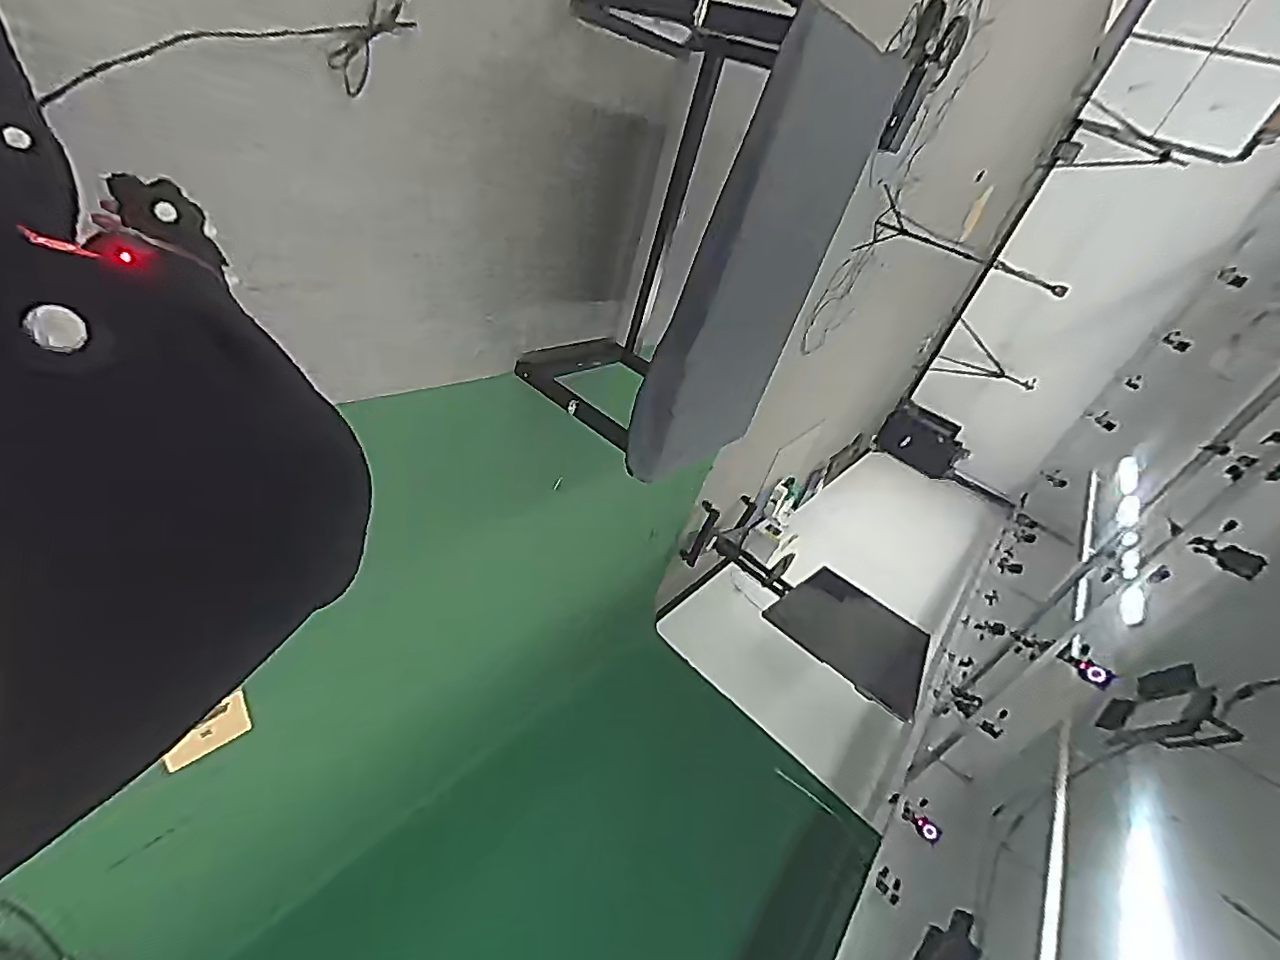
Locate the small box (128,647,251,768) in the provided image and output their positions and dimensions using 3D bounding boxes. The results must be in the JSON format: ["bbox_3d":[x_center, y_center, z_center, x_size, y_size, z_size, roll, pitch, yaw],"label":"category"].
[{"bbox_3d":[-1.060,0.525,1.277,0.168,0.176,0.179,-27,146,-46],"label":"small box"}]
